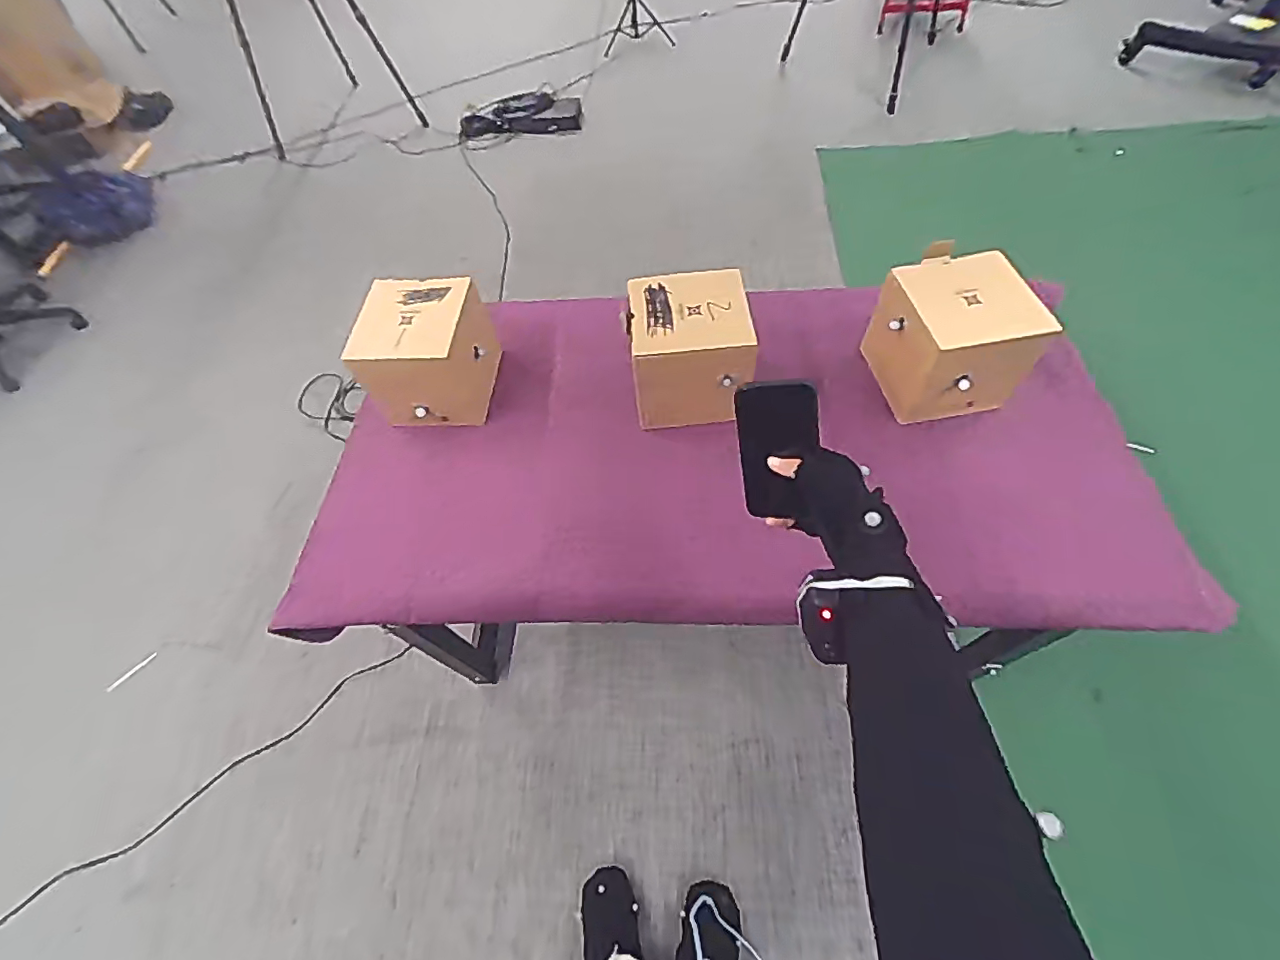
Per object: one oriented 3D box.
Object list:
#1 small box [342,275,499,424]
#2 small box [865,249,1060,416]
[{"bbox_3d":[-0.344,-0.213,0.891,0.168,0.176,0.179,0,60,6],"label":"small box"},{"bbox_3d":[0.467,-0.212,0.818,0.168,0.176,0.179,-10,58,0],"label":"small box"}]
